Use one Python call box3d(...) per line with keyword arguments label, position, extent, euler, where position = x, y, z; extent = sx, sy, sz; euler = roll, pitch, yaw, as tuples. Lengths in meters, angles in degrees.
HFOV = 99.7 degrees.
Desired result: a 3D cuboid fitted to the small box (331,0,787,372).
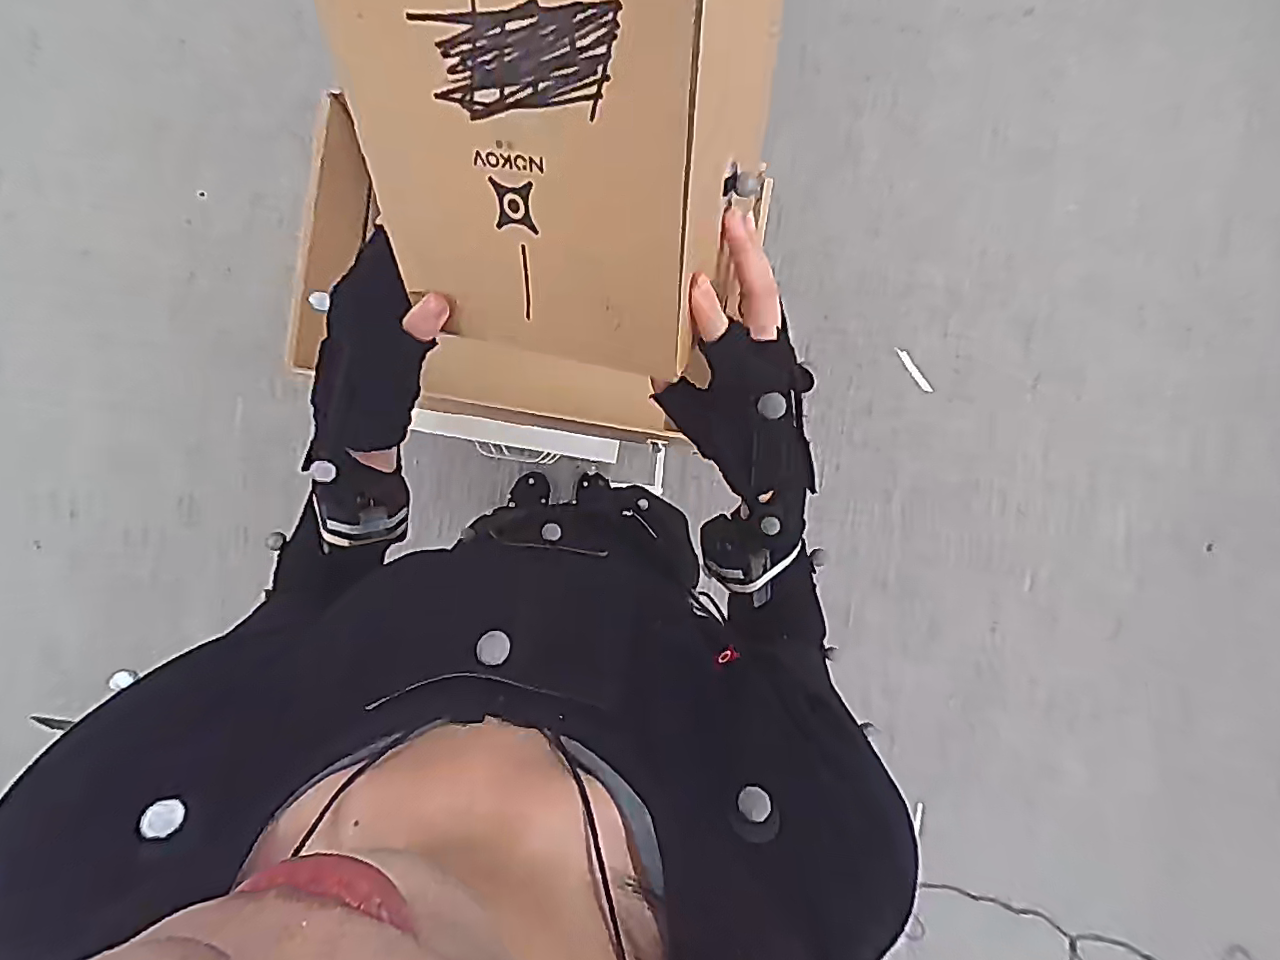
box3d(label="small box", position=(-0.024, -0.189, 0.296), extent=(0.168, 0.179, 0.176), euler=(15, 45, 15))
